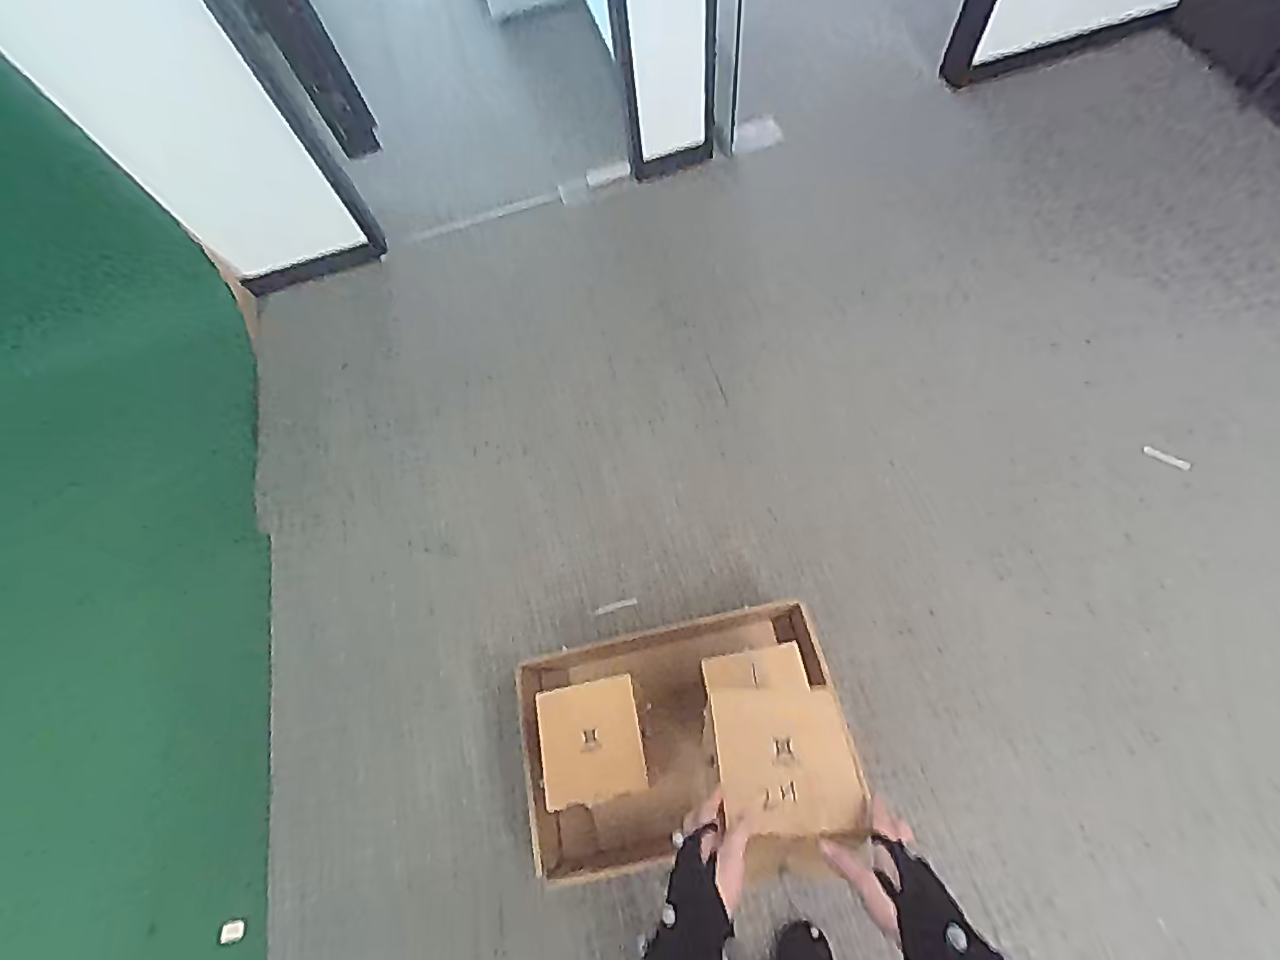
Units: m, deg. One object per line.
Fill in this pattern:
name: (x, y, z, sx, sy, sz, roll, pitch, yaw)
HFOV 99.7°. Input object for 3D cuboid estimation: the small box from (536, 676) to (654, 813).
small box: (-0.074, 0.455, 0.938, 0.168, 0.176, 0.179, -12, 64, -1)

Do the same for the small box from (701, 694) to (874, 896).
small box: (0.172, 0.403, 0.700, 0.168, 0.176, 0.179, 0, 36, 0)

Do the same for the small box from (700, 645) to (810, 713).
small box: (0.204, 0.398, 0.933, 0.168, 0.176, 0.179, -12, 63, 2)
